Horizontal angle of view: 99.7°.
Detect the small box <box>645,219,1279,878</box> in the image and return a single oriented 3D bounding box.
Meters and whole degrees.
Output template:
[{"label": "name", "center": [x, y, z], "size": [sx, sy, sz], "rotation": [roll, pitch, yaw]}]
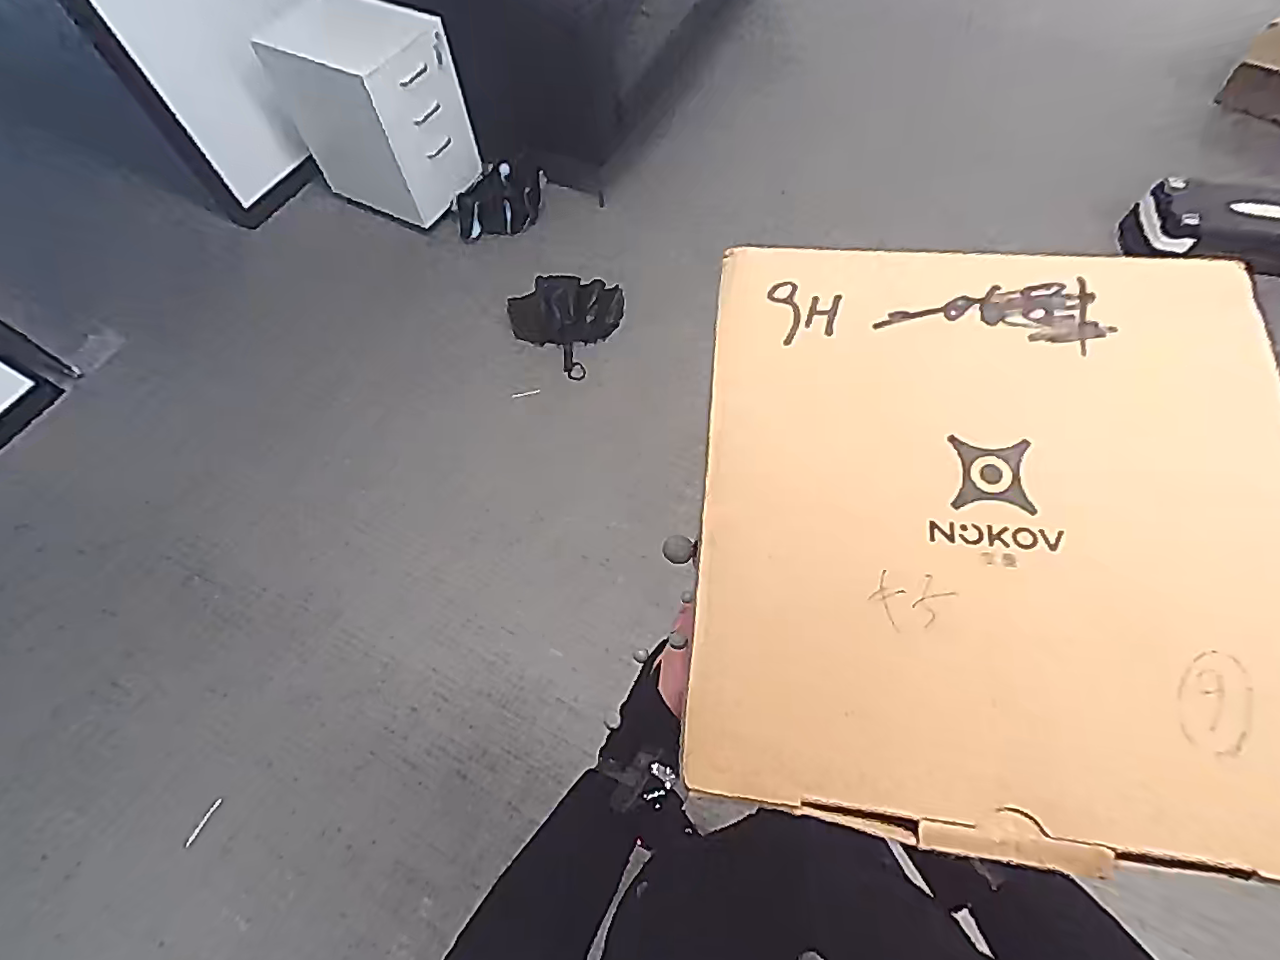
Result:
[{"label": "small box", "center": [0.099, 0.022, 0.231], "size": [0.168, 0.176, 0.179], "rotation": [5, 75, 6]}]
